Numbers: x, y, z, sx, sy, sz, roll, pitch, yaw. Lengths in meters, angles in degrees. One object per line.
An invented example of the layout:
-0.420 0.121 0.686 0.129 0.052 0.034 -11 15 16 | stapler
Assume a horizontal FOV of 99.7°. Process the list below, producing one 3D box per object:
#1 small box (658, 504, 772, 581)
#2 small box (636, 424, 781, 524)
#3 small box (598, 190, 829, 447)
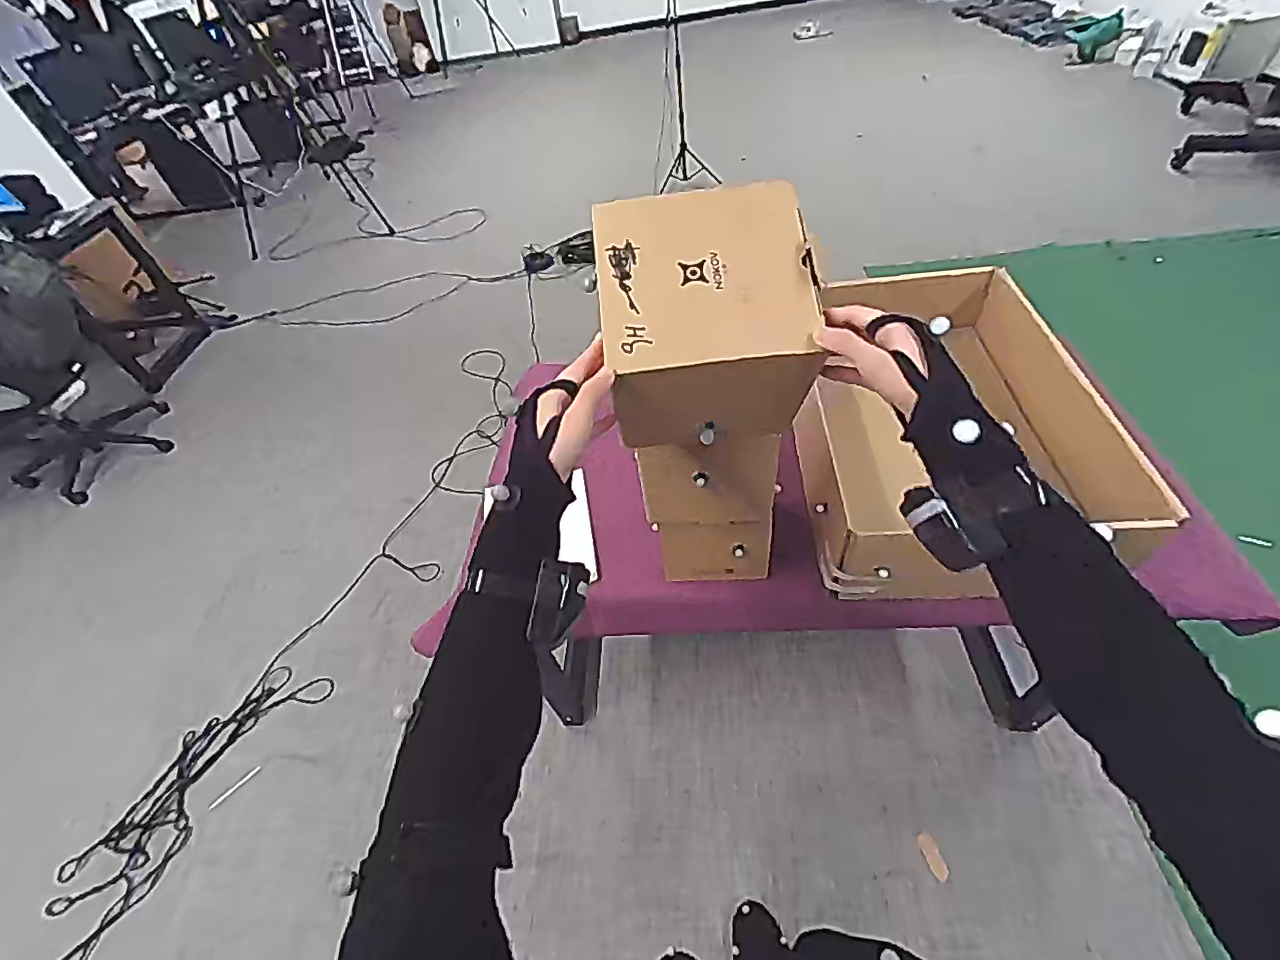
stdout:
0.123 0.051 0.880 0.168 0.176 0.179 -2 47 8 | small box
0.095 -0.051 0.754 0.179 0.176 0.168 -2 47 8 | small box
0.058 -0.141 0.518 0.179 0.176 0.168 -5 71 1 | small box
